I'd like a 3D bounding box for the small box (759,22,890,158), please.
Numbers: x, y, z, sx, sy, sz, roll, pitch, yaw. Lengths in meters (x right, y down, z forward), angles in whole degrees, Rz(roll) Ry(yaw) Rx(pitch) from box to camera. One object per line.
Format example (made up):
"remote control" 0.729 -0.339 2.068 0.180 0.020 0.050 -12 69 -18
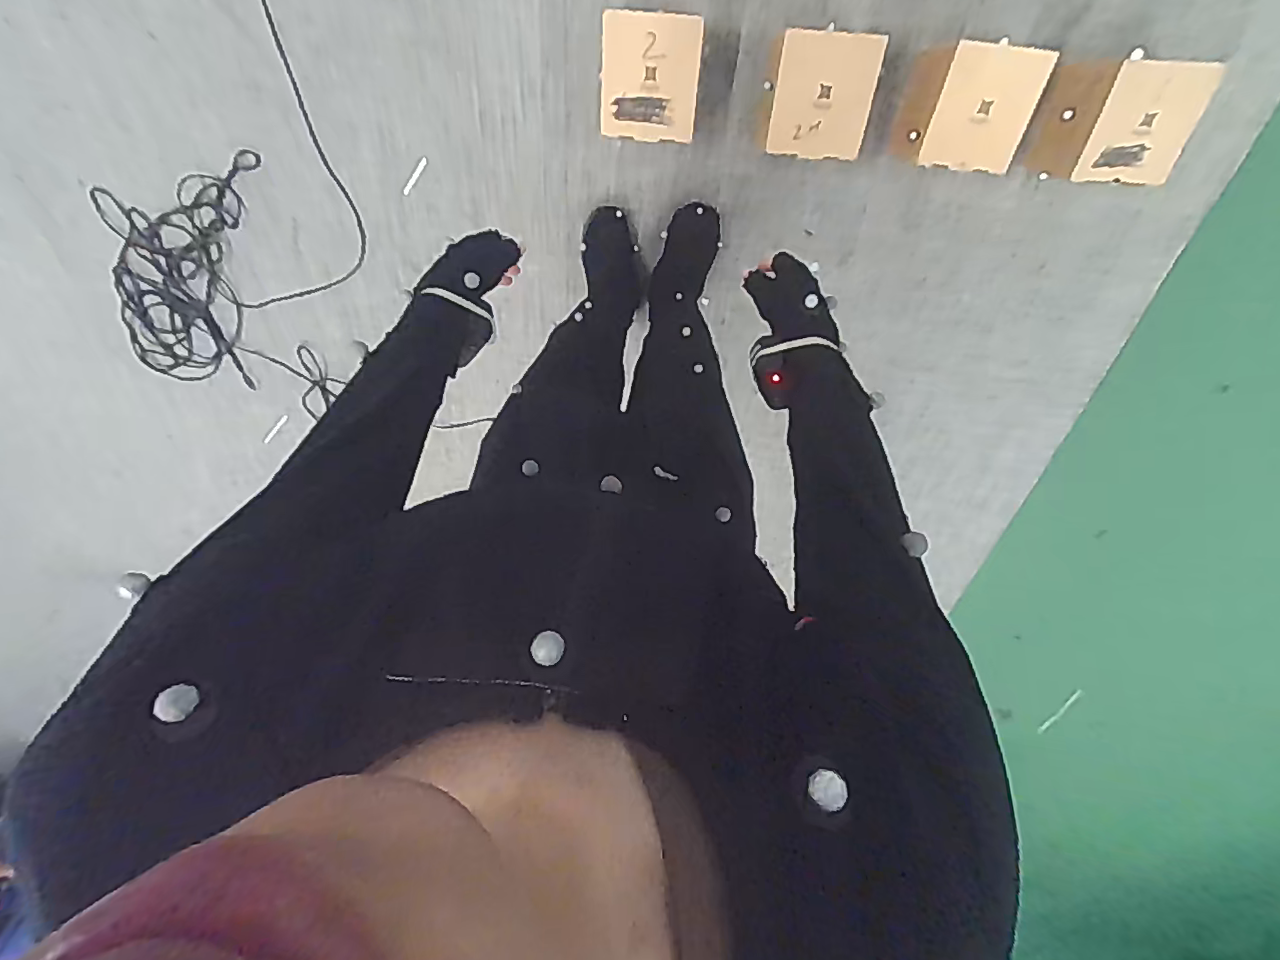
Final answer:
"small box" 0.313 -0.692 0.965 0.168 0.176 0.179 6 128 1

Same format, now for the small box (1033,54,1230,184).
"small box" 0.849 -0.644 0.963 0.168 0.176 0.179 4 127 1

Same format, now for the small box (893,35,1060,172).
"small box" 0.581 -0.670 0.965 0.168 0.176 0.179 6 128 -1
